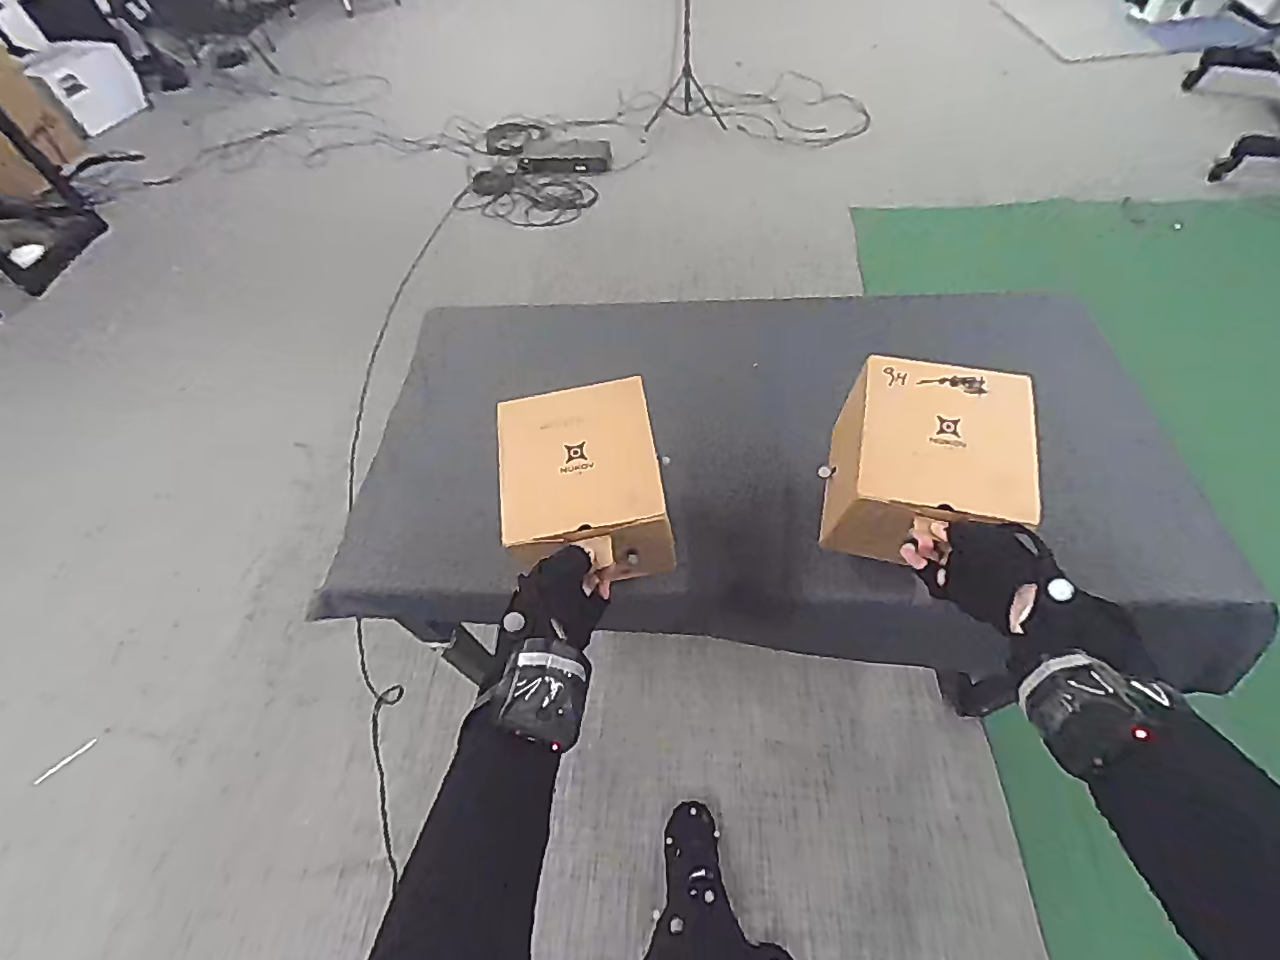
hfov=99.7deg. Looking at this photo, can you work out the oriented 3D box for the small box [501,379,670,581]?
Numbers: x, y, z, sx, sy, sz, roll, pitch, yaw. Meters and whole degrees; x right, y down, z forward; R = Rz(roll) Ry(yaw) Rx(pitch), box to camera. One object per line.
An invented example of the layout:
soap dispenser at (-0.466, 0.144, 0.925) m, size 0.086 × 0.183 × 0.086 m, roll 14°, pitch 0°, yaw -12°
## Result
small box at (-0.059, 0.011, 0.647) m, size 0.168 × 0.176 × 0.179 m, roll -10°, pitch 61°, yaw 0°
